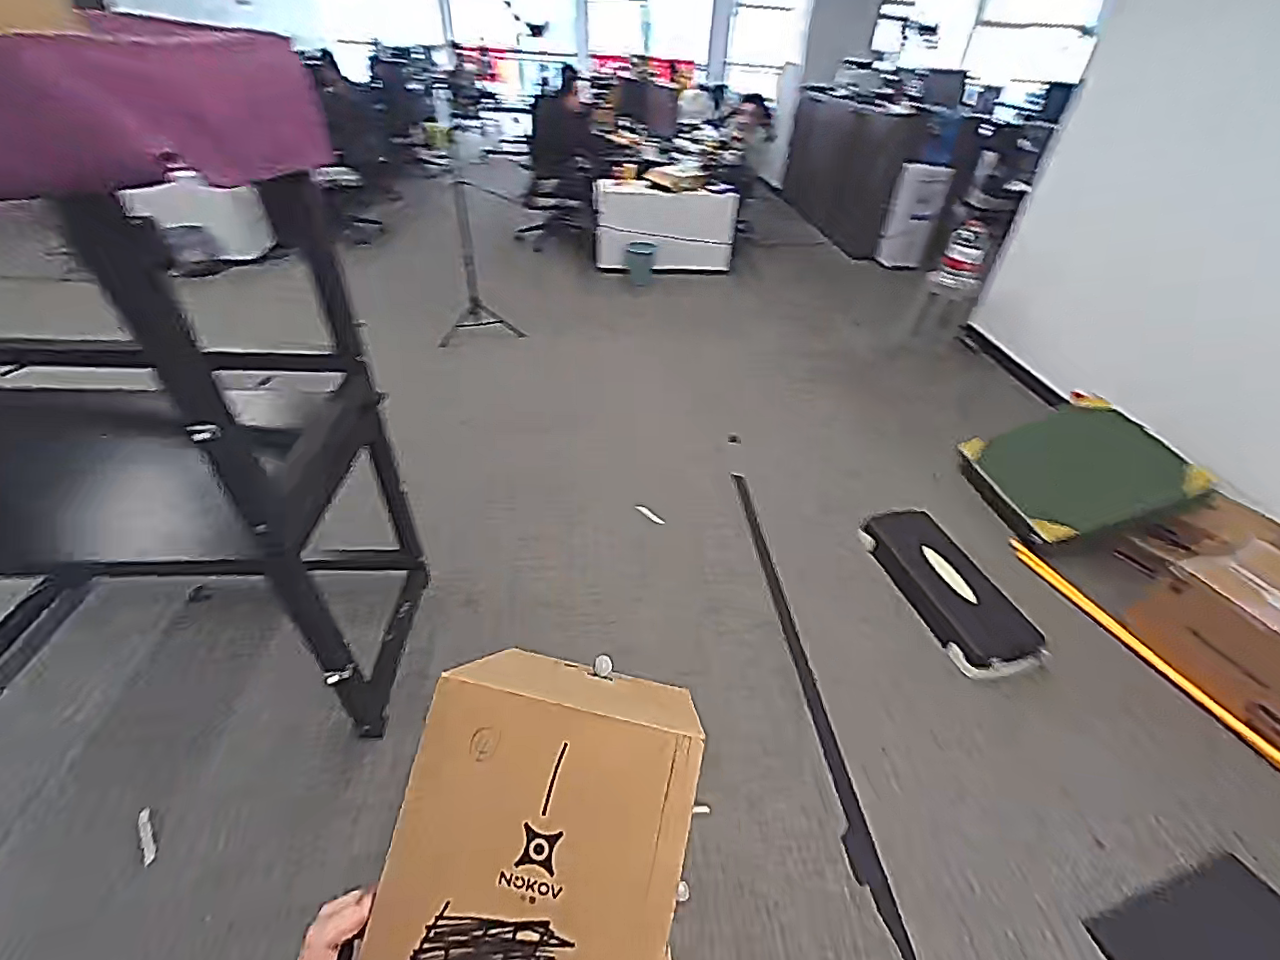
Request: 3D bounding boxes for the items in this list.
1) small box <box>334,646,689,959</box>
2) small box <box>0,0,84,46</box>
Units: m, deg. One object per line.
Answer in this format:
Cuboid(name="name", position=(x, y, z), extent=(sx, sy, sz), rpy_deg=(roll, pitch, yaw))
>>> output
Cuboid(name="small box", position=(-0.066, 0.225, 0.372), extent=(0.168, 0.176, 0.179), rpy_deg=(12, 77, 3))
Cuboid(name="small box", position=(-0.814, -0.614, 0.621), extent=(0.168, 0.176, 0.179), rpy_deg=(2, 39, 0))
